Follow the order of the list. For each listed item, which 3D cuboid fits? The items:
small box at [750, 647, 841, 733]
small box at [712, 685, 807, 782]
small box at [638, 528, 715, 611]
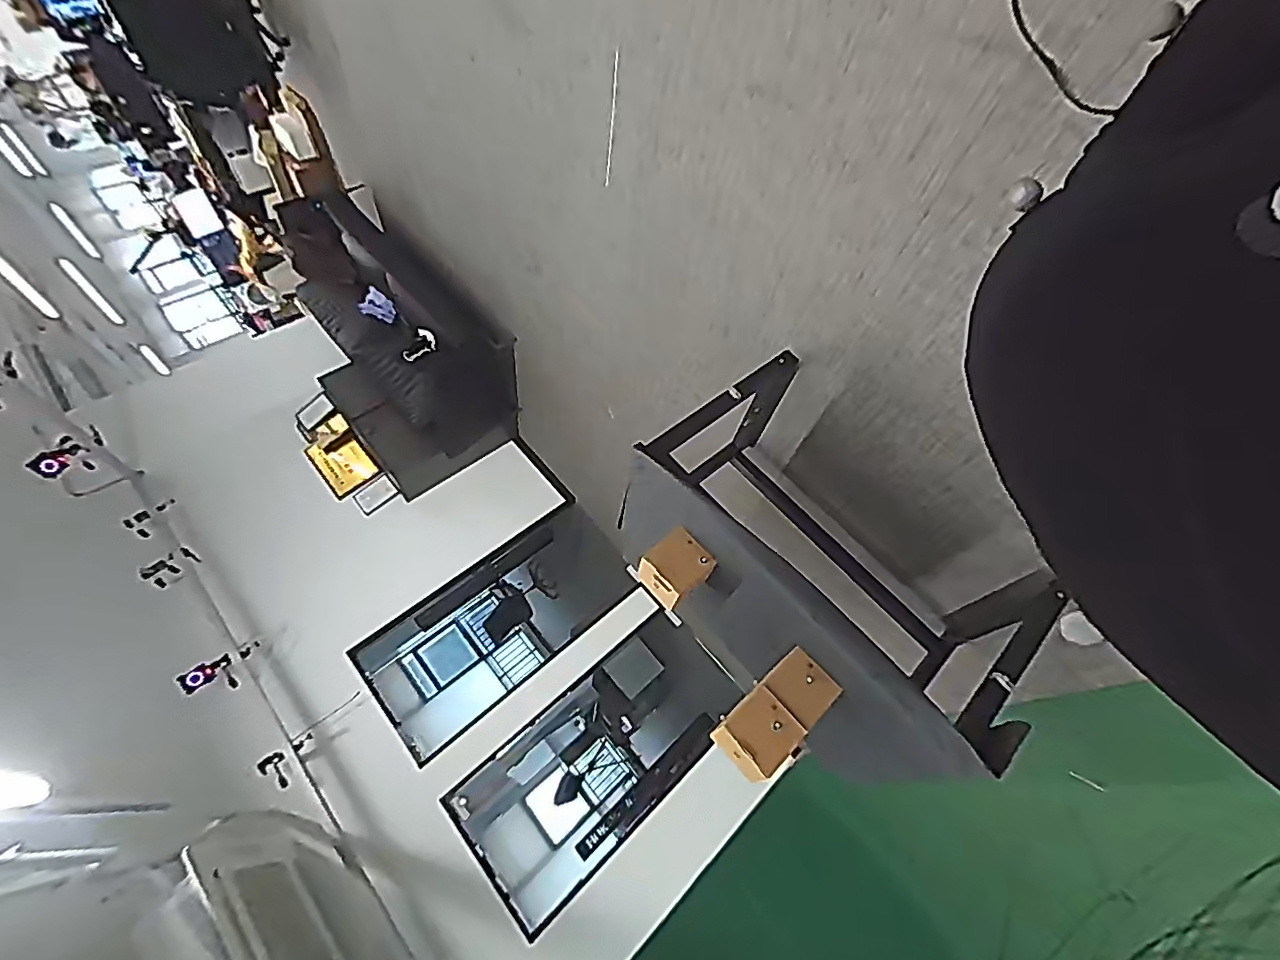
[{"bbox_3d":[0.447,0.615,1.560,0.168,0.176,0.179,43,153,21],"label":"small box"},{"bbox_3d":[0.328,0.695,1.485,0.168,0.176,0.179,45,153,21],"label":"small box"},{"bbox_3d":[0.116,0.282,1.722,0.168,0.176,0.179,46,154,18],"label":"small box"}]
